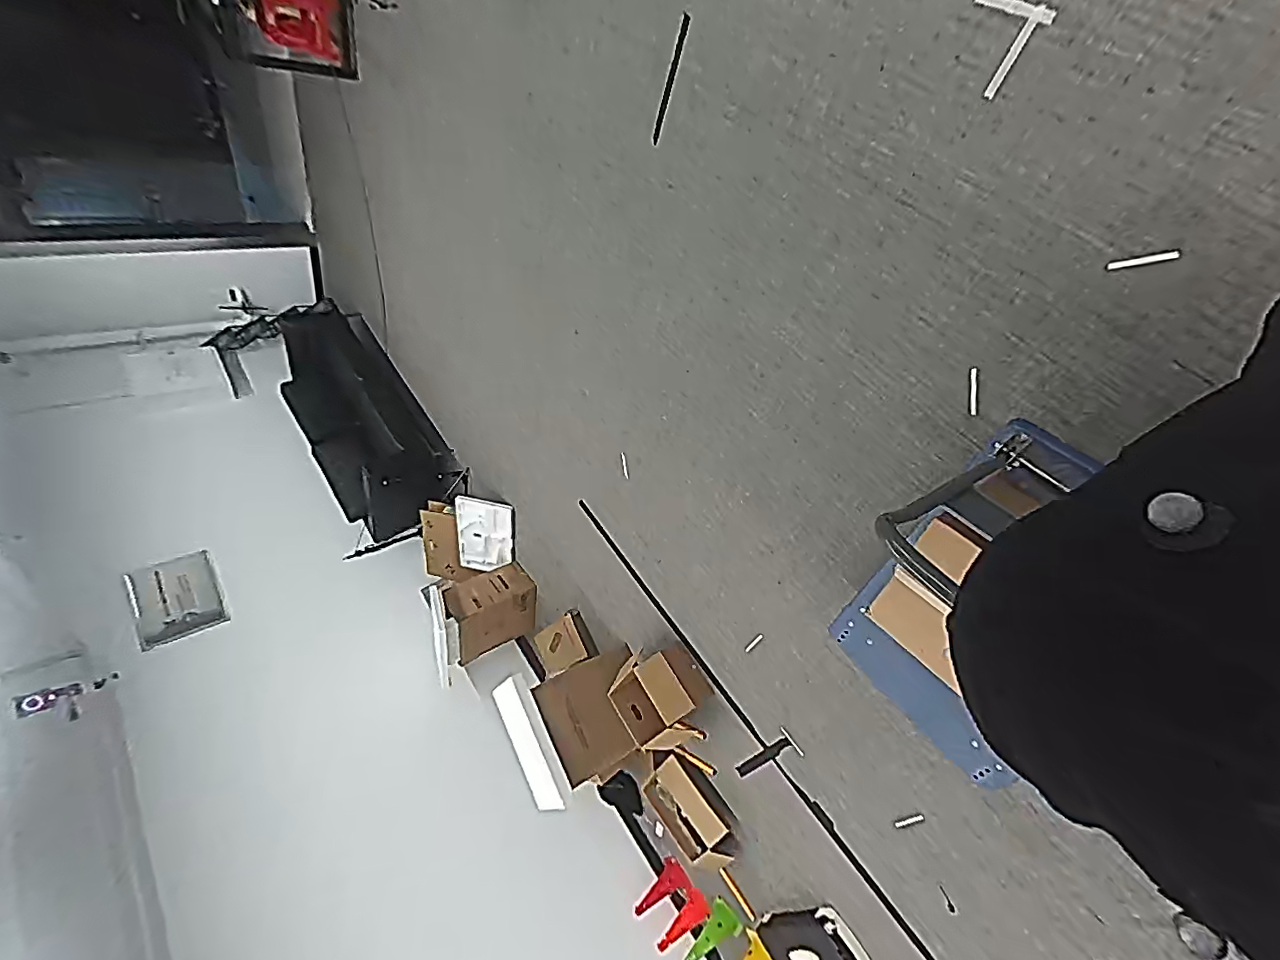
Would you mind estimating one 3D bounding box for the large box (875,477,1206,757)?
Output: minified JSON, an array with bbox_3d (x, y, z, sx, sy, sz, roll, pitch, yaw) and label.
[{"bbox_3d":[0.798,0.257,1.120,0.408,0.320,0.320,44,136,33],"label":"large box"}]
